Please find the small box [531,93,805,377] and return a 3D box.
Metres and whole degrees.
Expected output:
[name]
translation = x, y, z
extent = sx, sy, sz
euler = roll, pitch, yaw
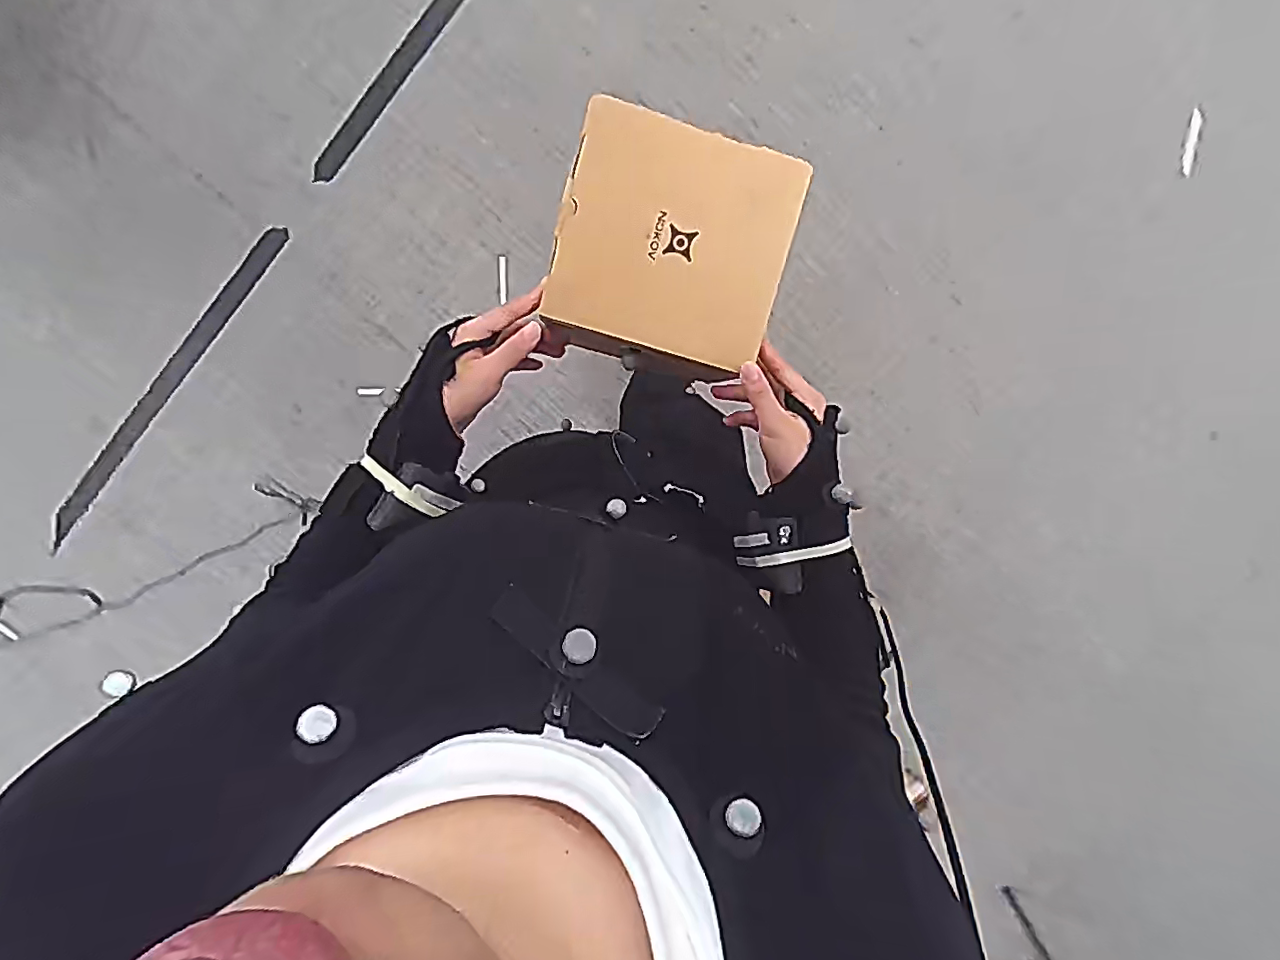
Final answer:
[small box]
translation = 0.017, -0.194, 0.485
extent = 0.179, 0.176, 0.168
euler = 14, 98, -4
